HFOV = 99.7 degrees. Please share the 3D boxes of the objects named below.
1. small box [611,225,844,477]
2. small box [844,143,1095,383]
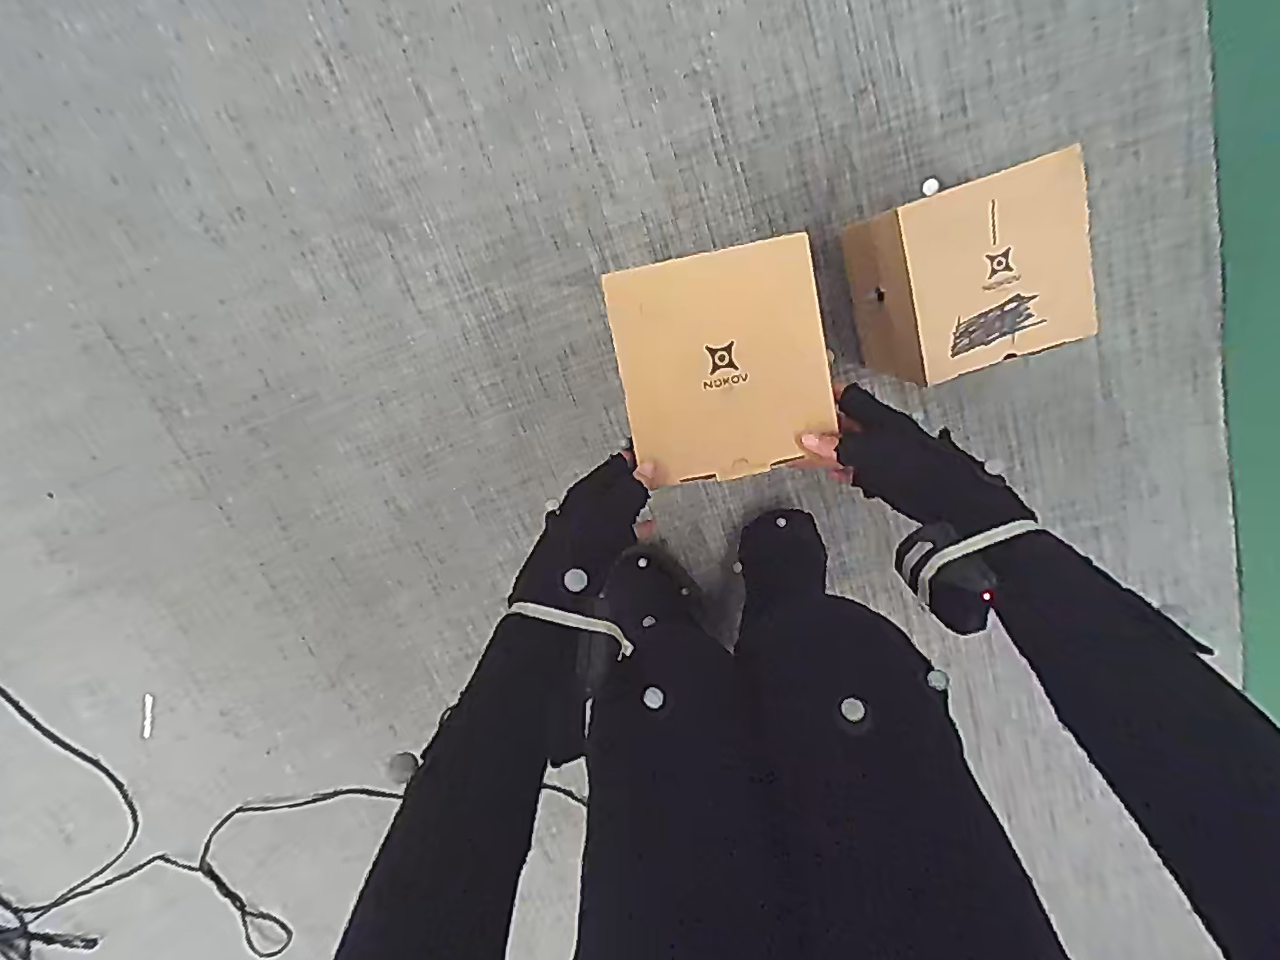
[{"bbox_3d":[0.069,-0.108,0.509,0.168,0.176,0.179,-11,96,1],"label":"small box"},{"bbox_3d":[0.341,-0.223,0.586,0.168,0.176,0.179,-17,106,7],"label":"small box"}]
